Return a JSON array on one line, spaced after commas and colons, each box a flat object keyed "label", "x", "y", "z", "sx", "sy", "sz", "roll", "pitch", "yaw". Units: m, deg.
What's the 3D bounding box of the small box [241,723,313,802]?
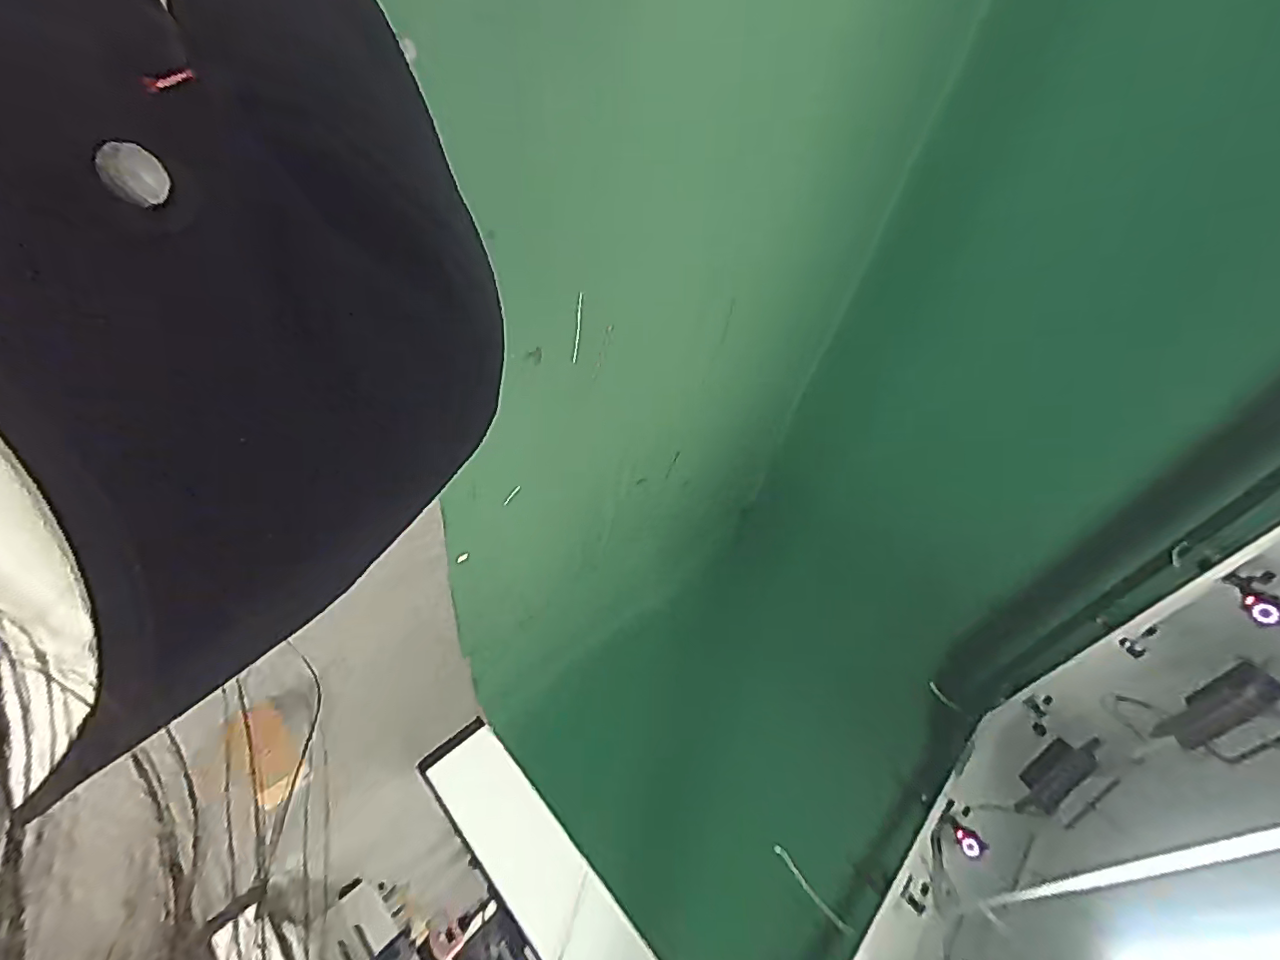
[{"label": "small box", "x": -1.387, "y": 1.072, "z": 2.058, "sx": 0.179, "sy": 0.176, "sz": 0.168, "roll": -27, "pitch": 148, "yaw": -38}]
